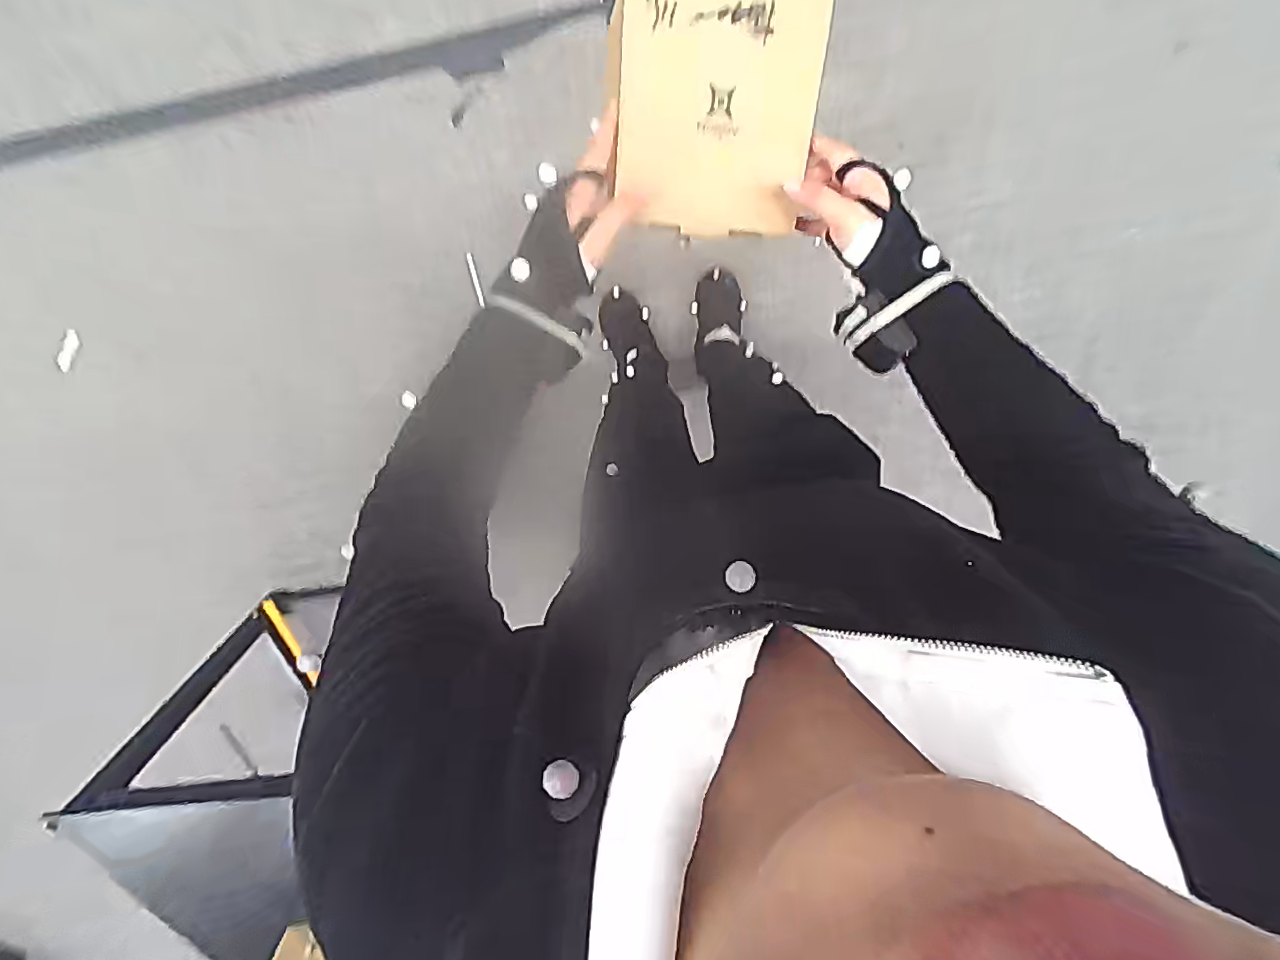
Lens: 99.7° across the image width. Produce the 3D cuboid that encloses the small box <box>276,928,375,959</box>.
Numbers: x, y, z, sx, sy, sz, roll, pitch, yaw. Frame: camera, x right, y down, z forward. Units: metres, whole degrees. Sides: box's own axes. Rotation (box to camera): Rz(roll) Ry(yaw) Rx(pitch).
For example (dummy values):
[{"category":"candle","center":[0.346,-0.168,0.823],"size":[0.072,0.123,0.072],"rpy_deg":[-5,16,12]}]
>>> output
[{"category":"small box","center":[-0.749,1.182,1.258],"size":[0.168,0.176,0.179],"rpy_deg":[-8,117,5]}]

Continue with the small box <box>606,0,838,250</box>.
[{"category":"small box","center":[0.056,-0.324,0.508],"size":[0.168,0.176,0.179],"rpy_deg":[0,118,-8]}]
